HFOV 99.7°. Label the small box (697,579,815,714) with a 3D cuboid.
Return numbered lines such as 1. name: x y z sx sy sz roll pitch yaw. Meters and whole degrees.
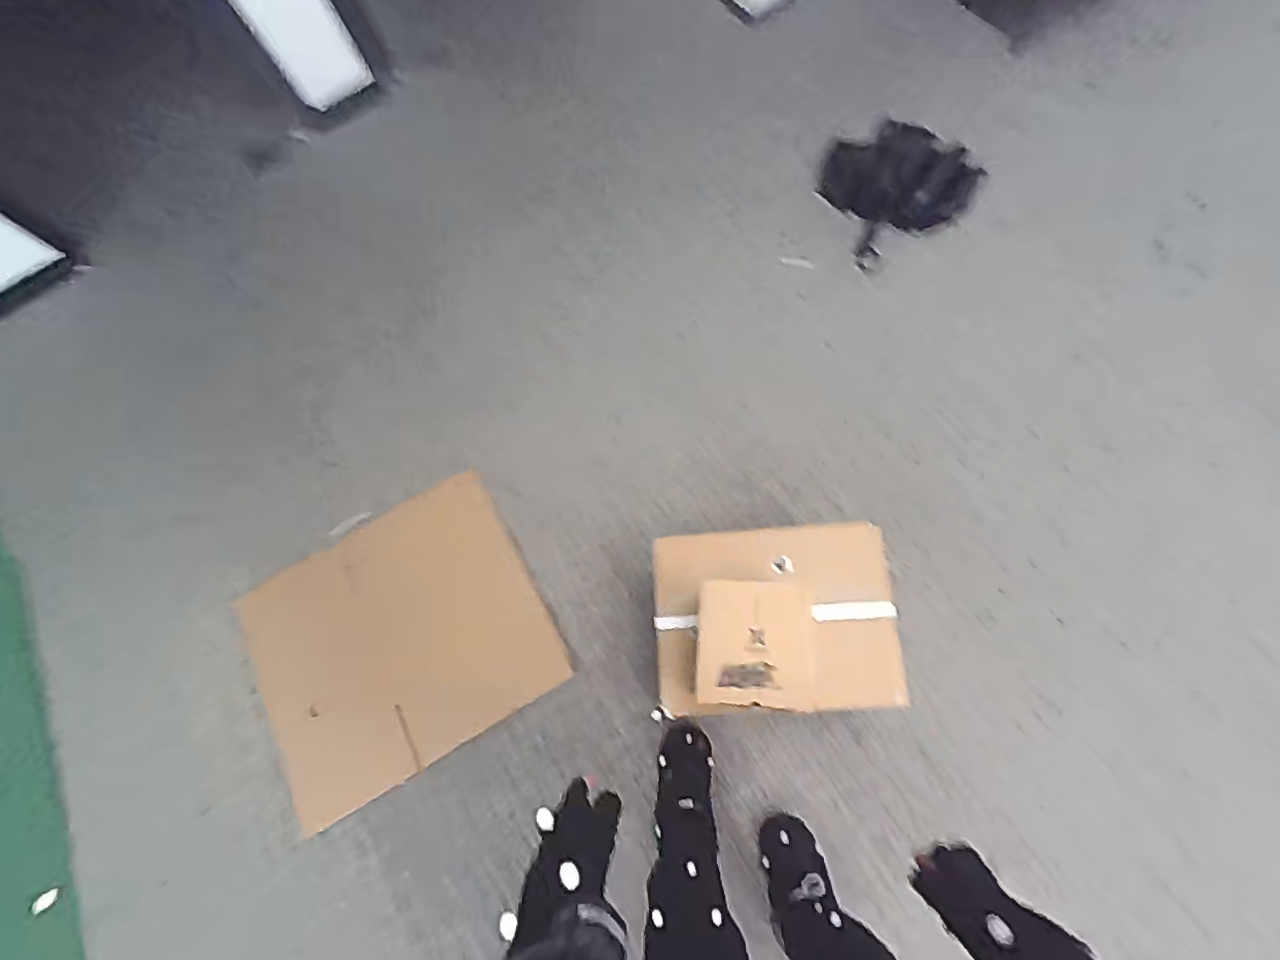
1. small box: 0.180 0.260 0.852 0.168 0.176 0.179 2 71 9
